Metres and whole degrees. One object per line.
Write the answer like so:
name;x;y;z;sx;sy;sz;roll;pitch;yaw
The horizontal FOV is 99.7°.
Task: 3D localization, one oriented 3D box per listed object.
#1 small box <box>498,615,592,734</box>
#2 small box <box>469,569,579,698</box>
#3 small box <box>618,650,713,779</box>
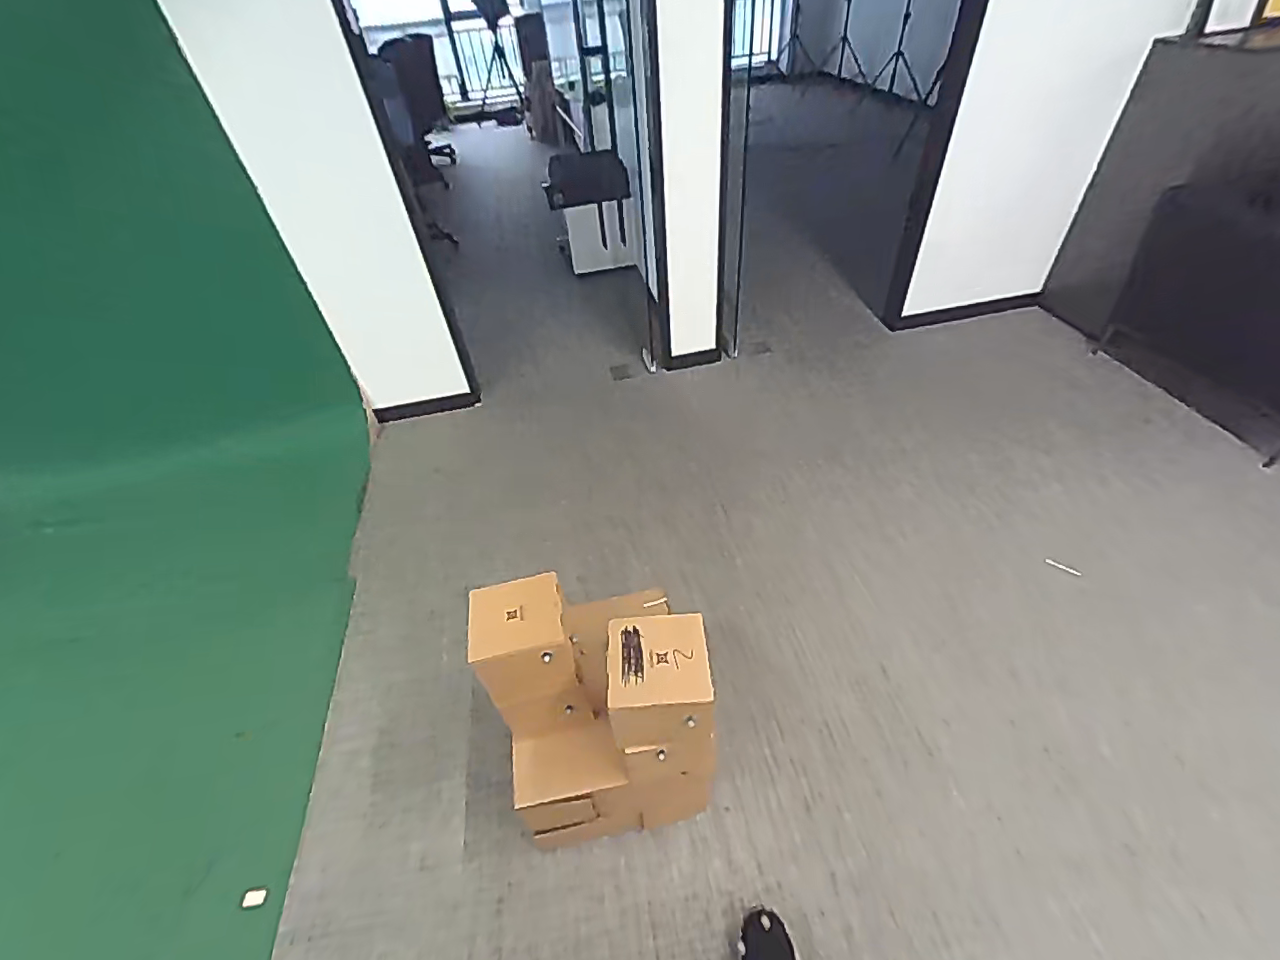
small box;-0.207;0.428;1.186;0.179;0.176;0.168;-13;42;-6
small box;-0.228;0.308;1.078;0.179;0.176;0.168;-12;42;-6
small box;0.048;0.476;1.100;0.168;0.176;0.179;-8;43;-2
